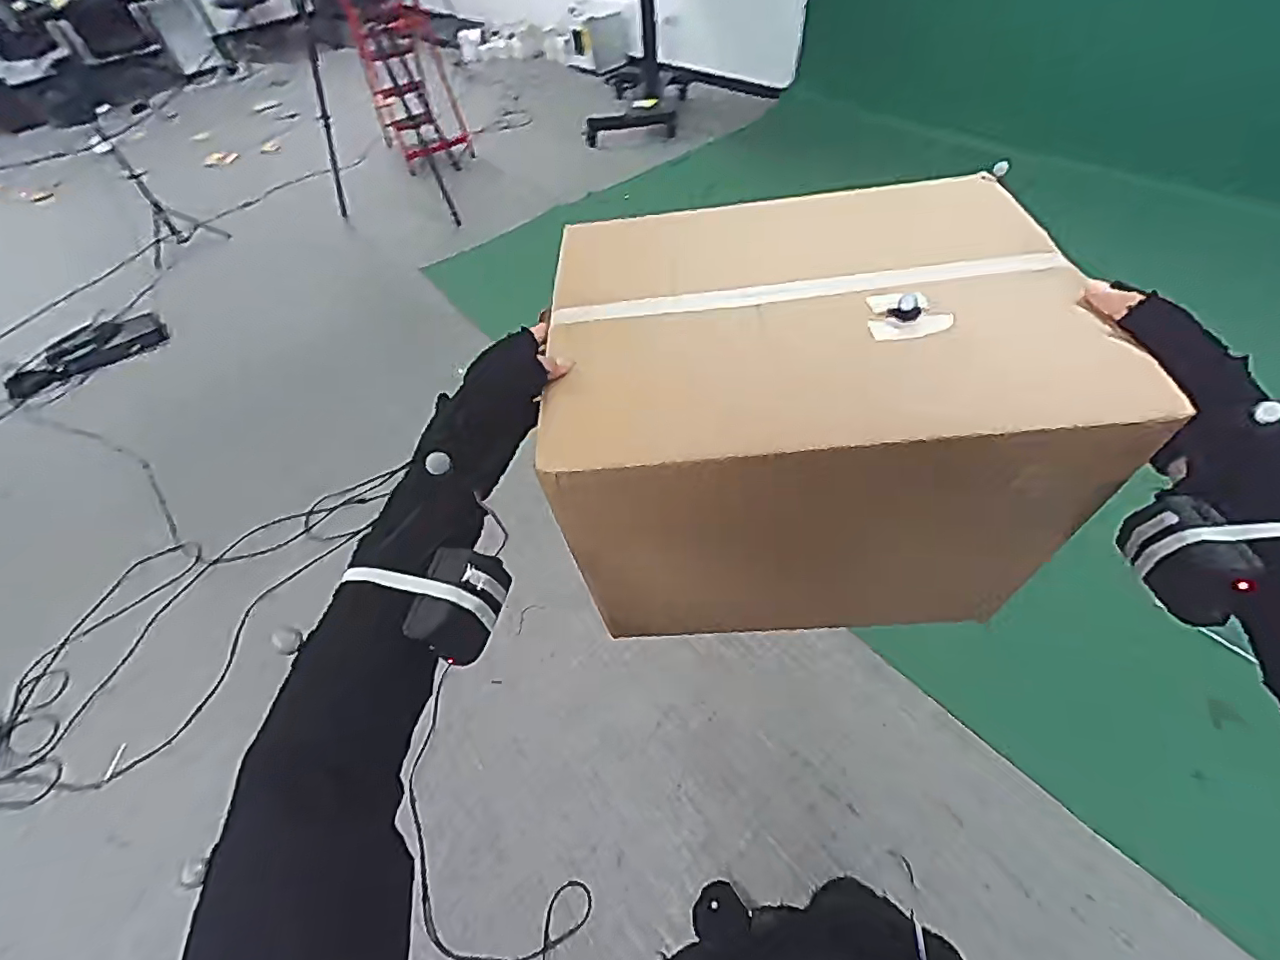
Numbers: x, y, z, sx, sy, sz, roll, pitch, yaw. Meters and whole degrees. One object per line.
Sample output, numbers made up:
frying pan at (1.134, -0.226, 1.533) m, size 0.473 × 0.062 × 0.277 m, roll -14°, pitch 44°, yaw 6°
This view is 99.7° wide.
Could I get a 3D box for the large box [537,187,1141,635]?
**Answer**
large box at (0.134, -0.053, 0.562) m, size 0.408 × 0.320 × 0.320 m, roll -5°, pitch 54°, yaw 4°
